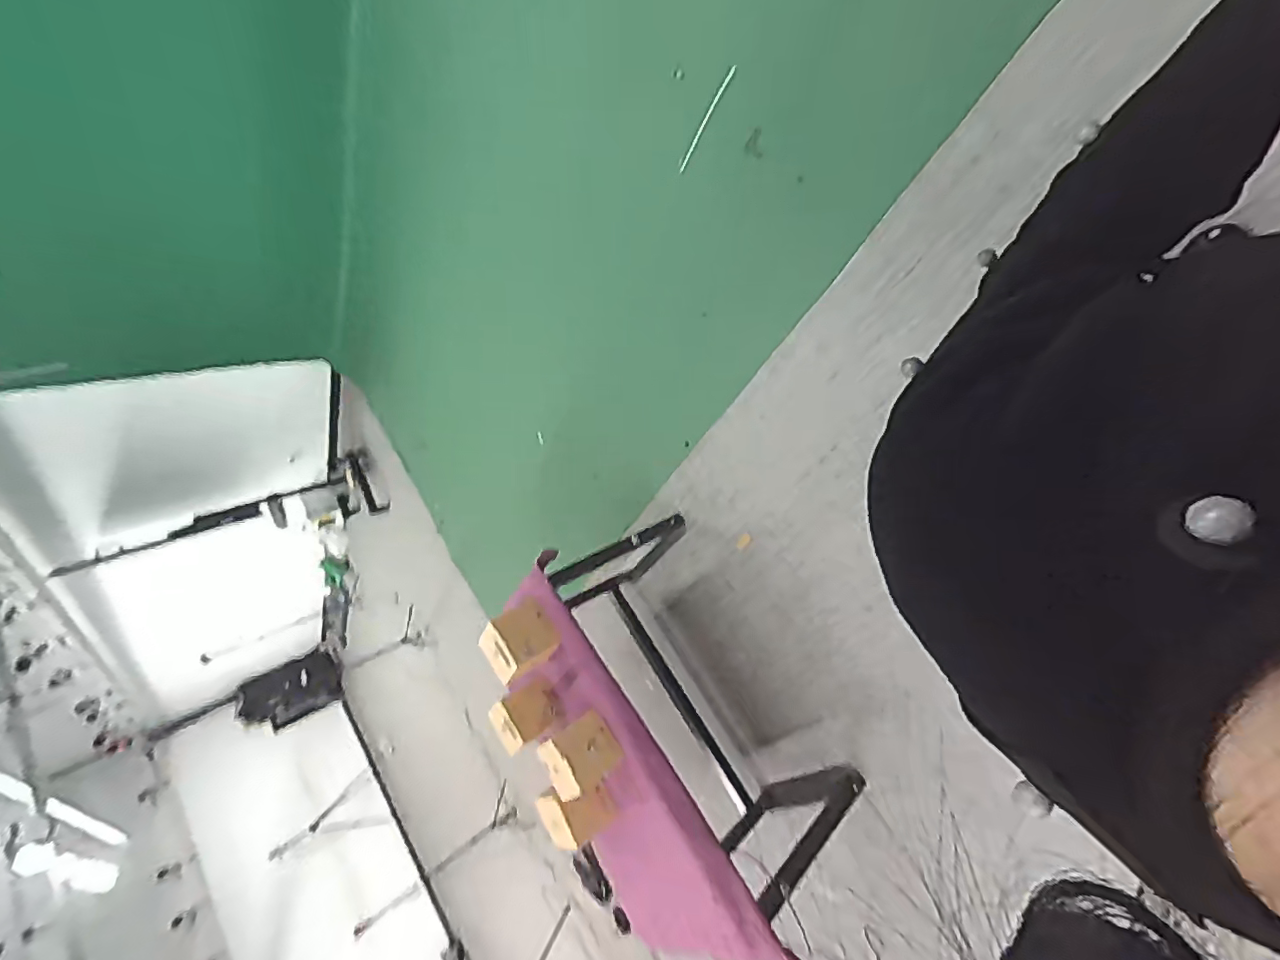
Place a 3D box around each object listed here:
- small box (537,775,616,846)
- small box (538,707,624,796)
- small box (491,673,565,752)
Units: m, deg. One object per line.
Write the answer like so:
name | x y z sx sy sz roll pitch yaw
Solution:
small box | -0.201 1.047 1.756 0.179 0.176 0.168 -38 76 48
small box | -0.172 0.810 1.623 0.168 0.176 0.179 55 138 16
small box | -0.379 0.788 1.841 0.168 0.176 0.179 54 138 17
